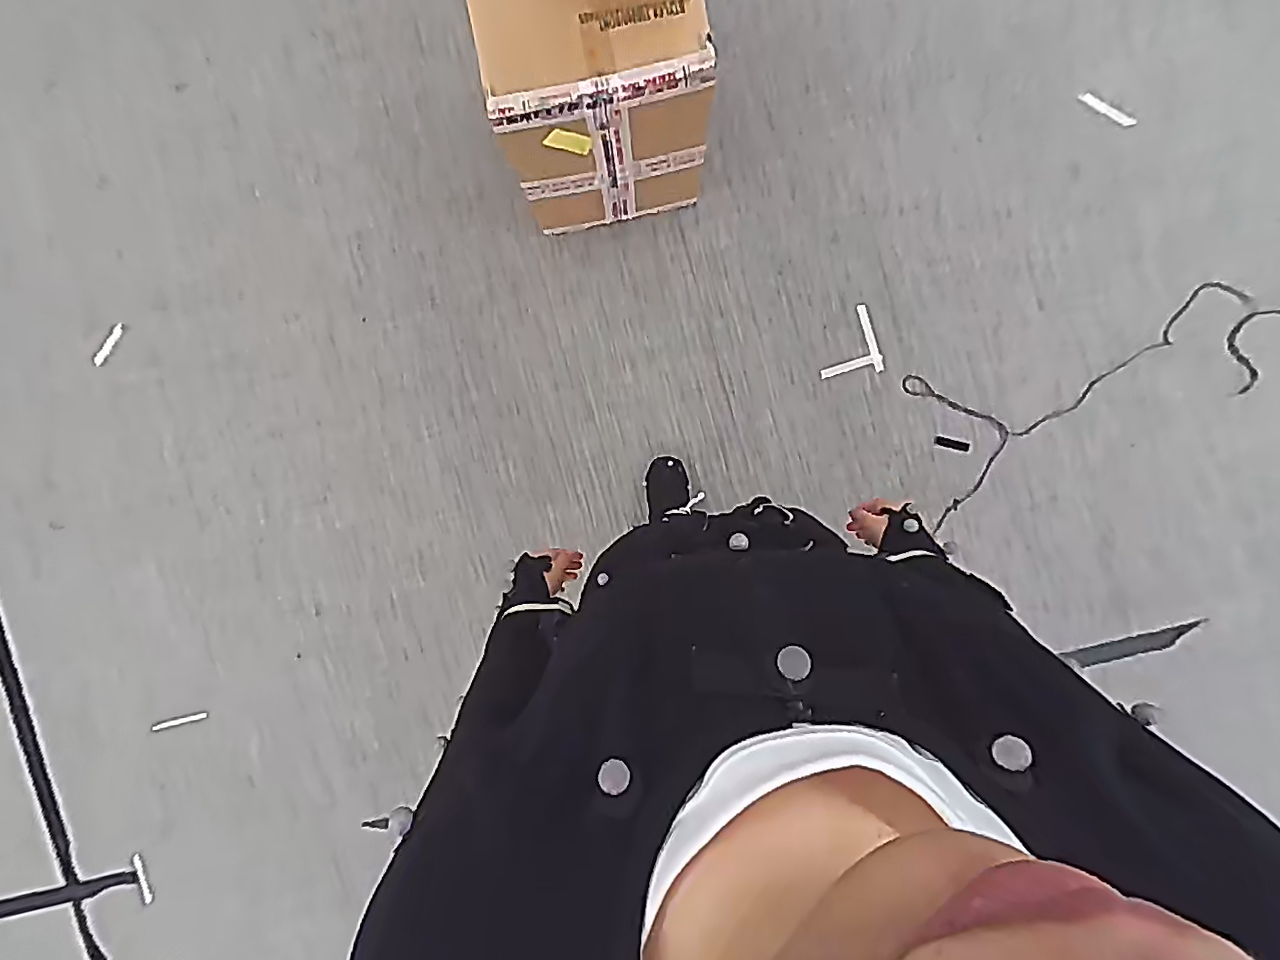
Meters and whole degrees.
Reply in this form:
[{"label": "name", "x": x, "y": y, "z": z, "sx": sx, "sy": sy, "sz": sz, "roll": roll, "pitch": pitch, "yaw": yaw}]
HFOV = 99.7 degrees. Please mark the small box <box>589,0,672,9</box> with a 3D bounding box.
[{"label": "small box", "x": -0.009, "y": -0.844, "z": 0.793, "sx": 0.179, "sy": 0.176, "sz": 0.168, "roll": -8, "pitch": 94, "yaw": 1}]
